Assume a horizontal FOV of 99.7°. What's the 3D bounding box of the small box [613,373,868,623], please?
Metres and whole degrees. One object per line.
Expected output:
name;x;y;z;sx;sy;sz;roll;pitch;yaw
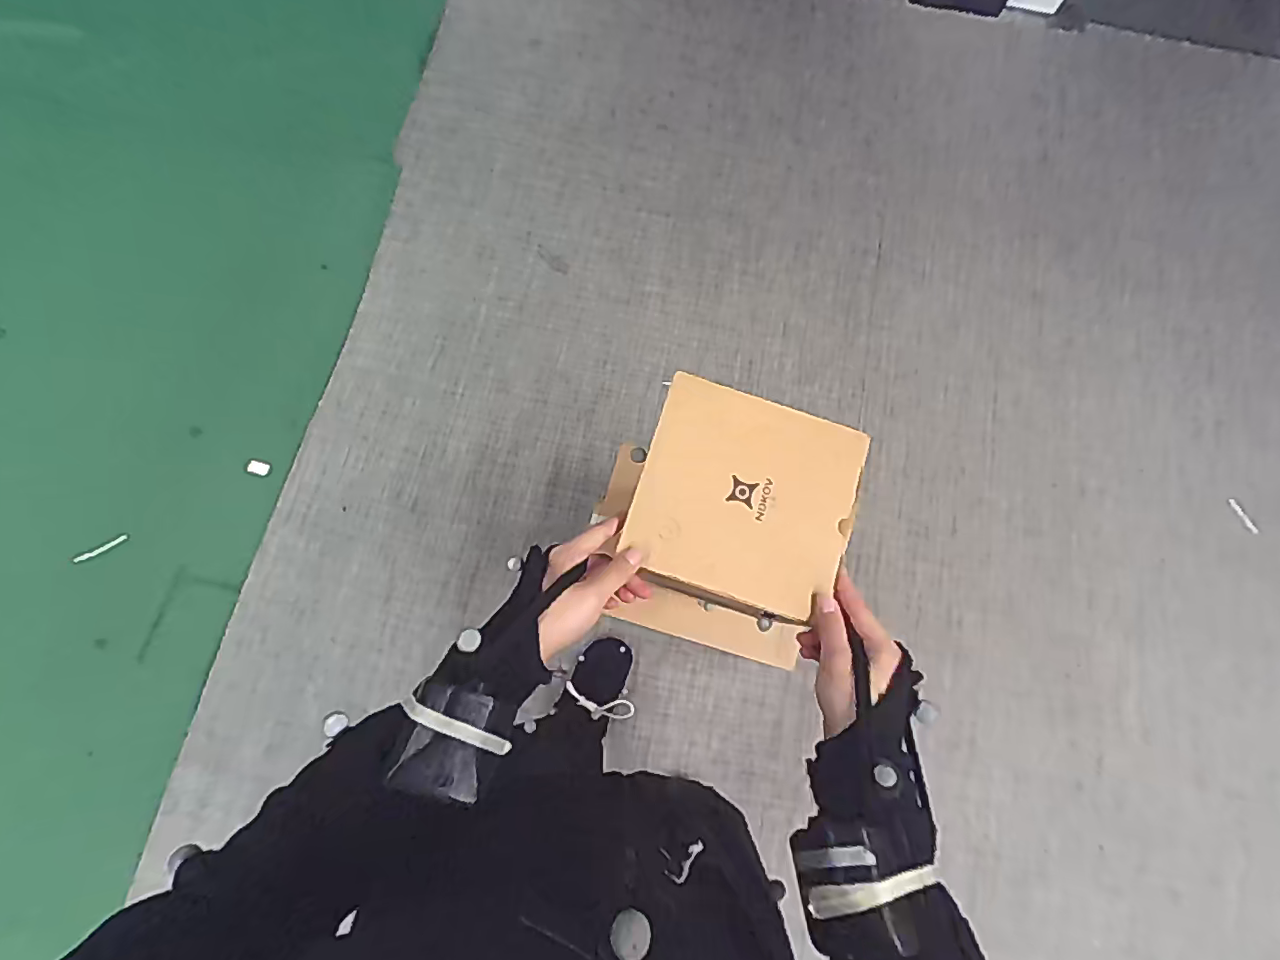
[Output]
small box;0.079;0.028;0.510;0.179;0.176;0.168;18;77;-1

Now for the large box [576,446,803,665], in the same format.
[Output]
large box;0.106;0.163;1.115;0.408;0.320;0.320;16;77;1
